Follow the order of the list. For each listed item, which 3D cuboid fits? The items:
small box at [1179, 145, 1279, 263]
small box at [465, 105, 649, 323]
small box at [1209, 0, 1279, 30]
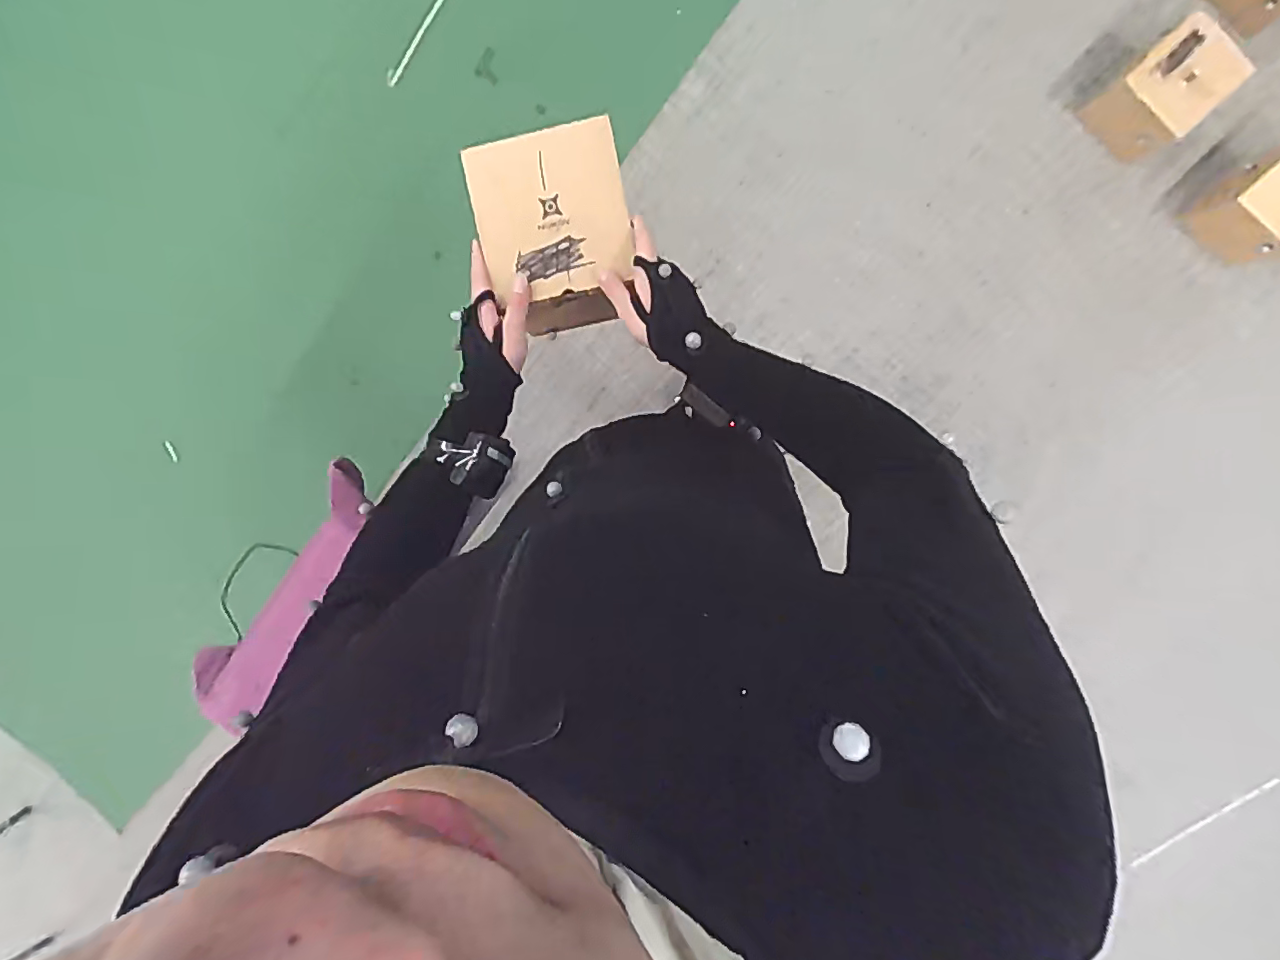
[{"bbox_3d":[1.367,-0.602,1.183,0.179,0.176,0.168,41,106,-2],"label":"small box"},{"bbox_3d":[-0.085,-0.296,0.646,0.168,0.176,0.179,-11,94,3],"label":"small box"},{"bbox_3d":[1.311,-1.064,1.086,0.179,0.176,0.168,42,105,-1],"label":"small box"}]
